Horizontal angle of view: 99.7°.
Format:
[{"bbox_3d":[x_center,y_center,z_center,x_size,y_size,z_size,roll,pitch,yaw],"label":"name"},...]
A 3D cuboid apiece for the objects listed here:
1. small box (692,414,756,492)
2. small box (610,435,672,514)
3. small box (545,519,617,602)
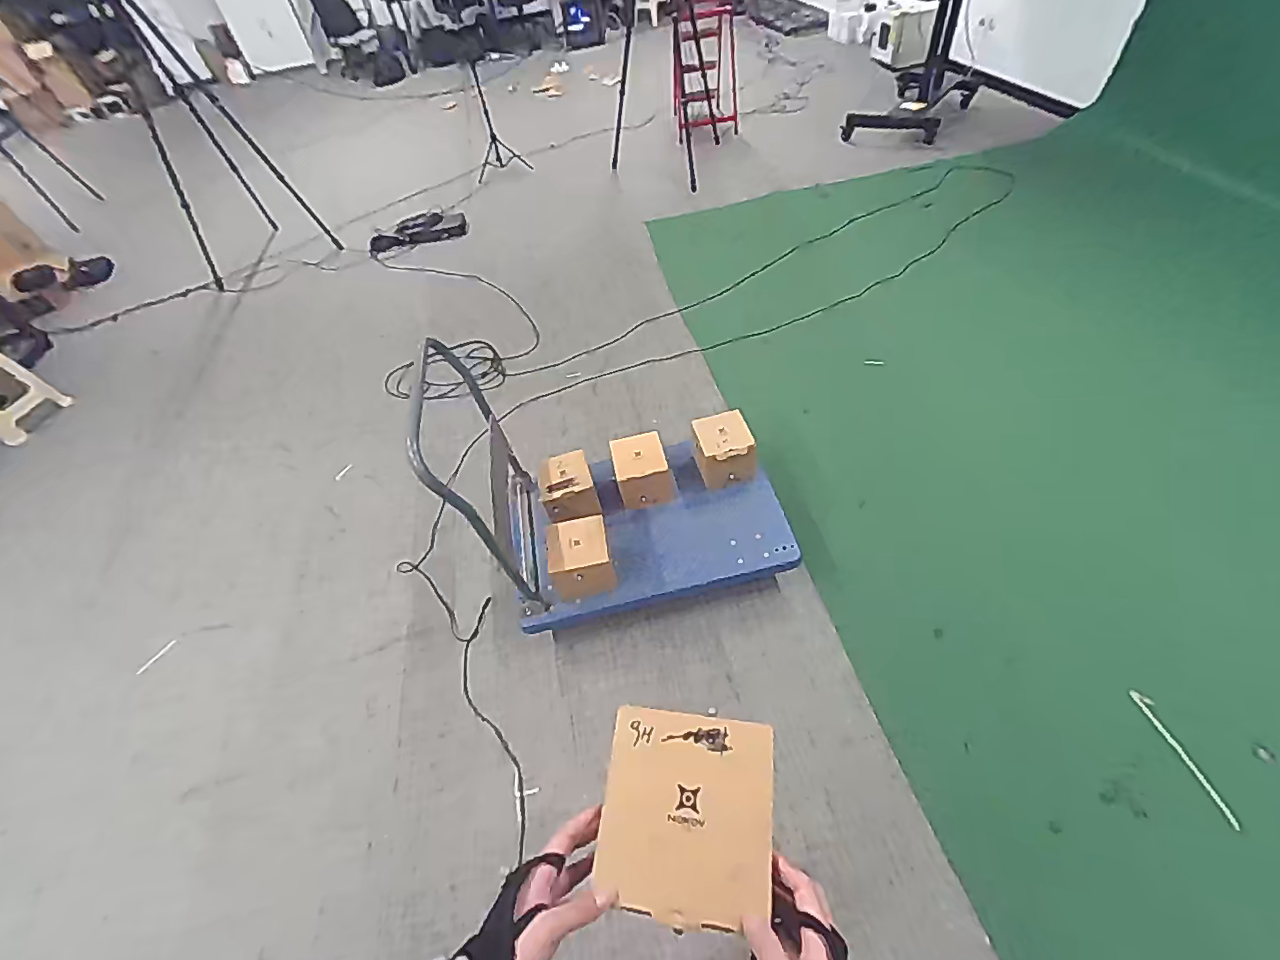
[{"bbox_3d":[0.275,-0.088,1.795,0.168,0.176,0.179,-15,50,-2],"label":"small box"},{"bbox_3d":[0.004,-0.017,1.783,0.168,0.176,0.179,-13,51,-2],"label":"small box"},{"bbox_3d":[-0.172,0.242,1.592,0.179,0.176,0.168,-11,50,-1],"label":"small box"}]
